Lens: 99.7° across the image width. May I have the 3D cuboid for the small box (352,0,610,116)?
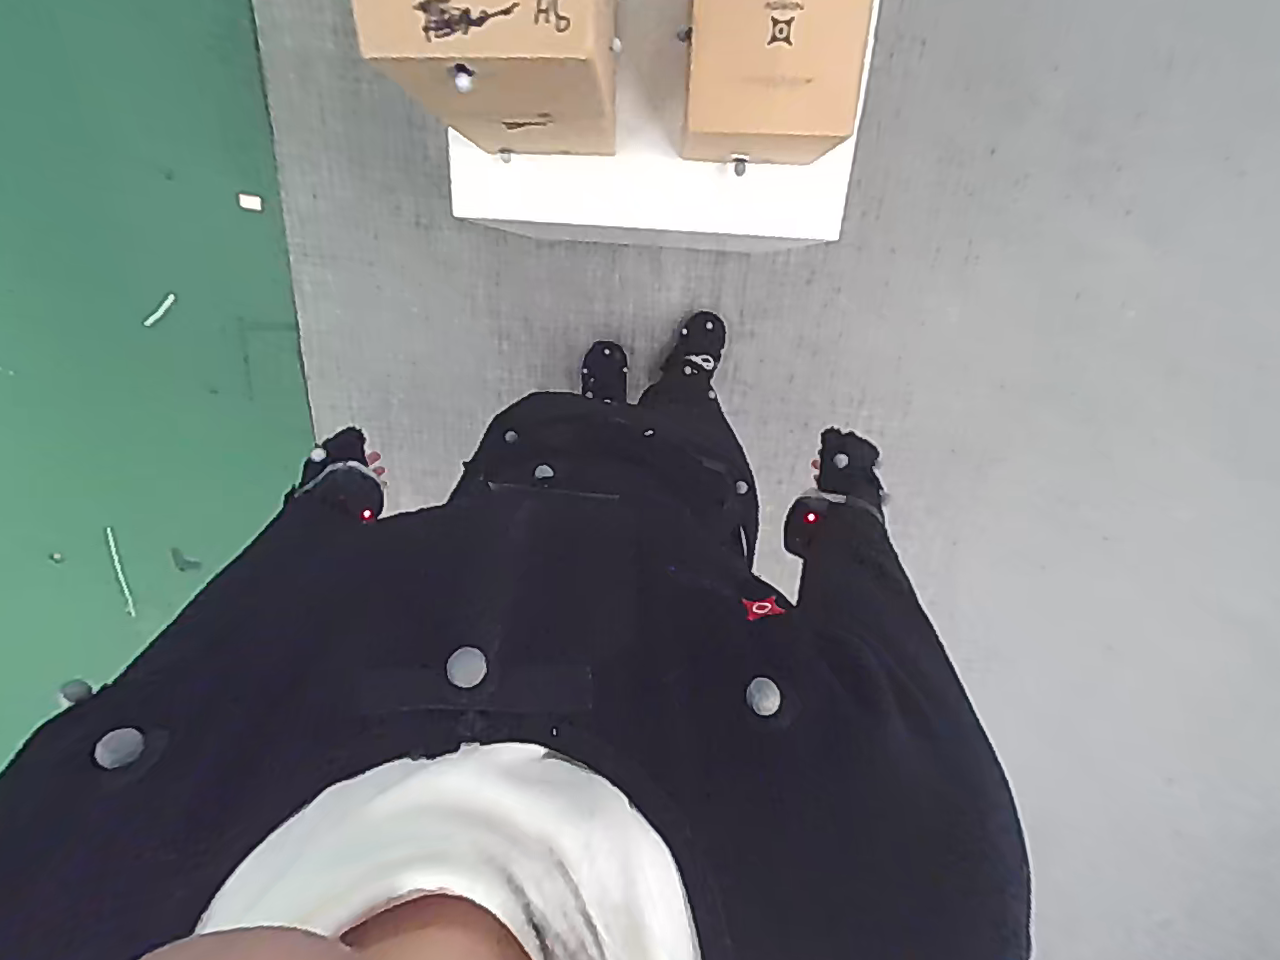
[{"bbox_3d":[-0.112,-0.411,0.420,0.168,0.176,0.179,1,111,1],"label":"small box"}]

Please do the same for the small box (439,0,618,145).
[{"bbox_3d":[-0.111,-0.470,0.572,0.168,0.176,0.179,1,110,1],"label":"small box"}]

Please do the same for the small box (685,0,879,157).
[{"bbox_3d":[0.134,-0.449,0.558,0.168,0.176,0.179,2,113,3],"label":"small box"}]
